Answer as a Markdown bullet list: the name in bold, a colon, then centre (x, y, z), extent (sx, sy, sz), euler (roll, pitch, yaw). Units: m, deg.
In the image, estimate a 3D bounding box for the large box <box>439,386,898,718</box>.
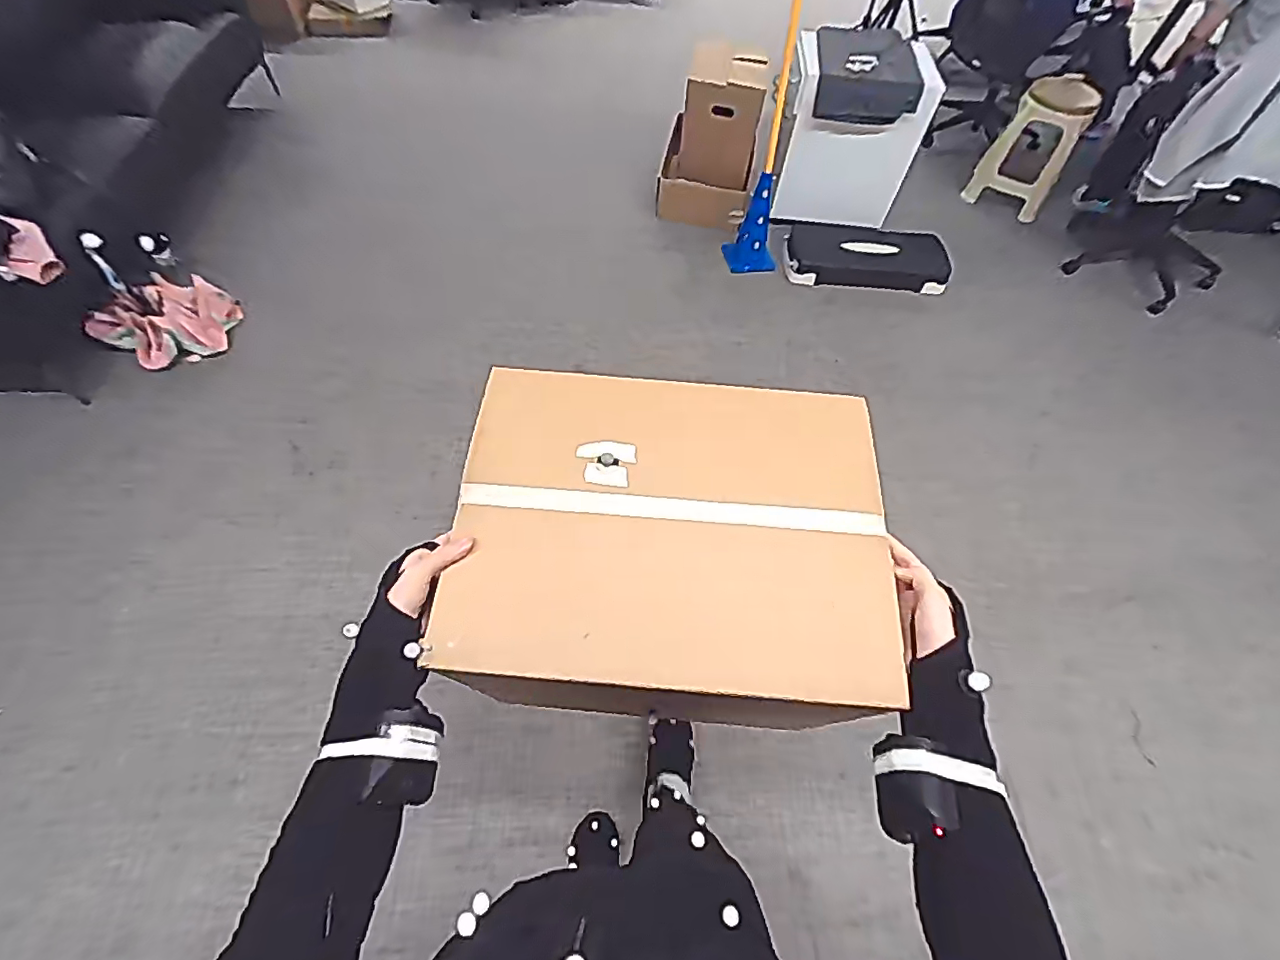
- **large box**: centre (0.033, 0.107, 0.662), extent (0.408, 0.320, 0.320), euler (4, 61, 2)
